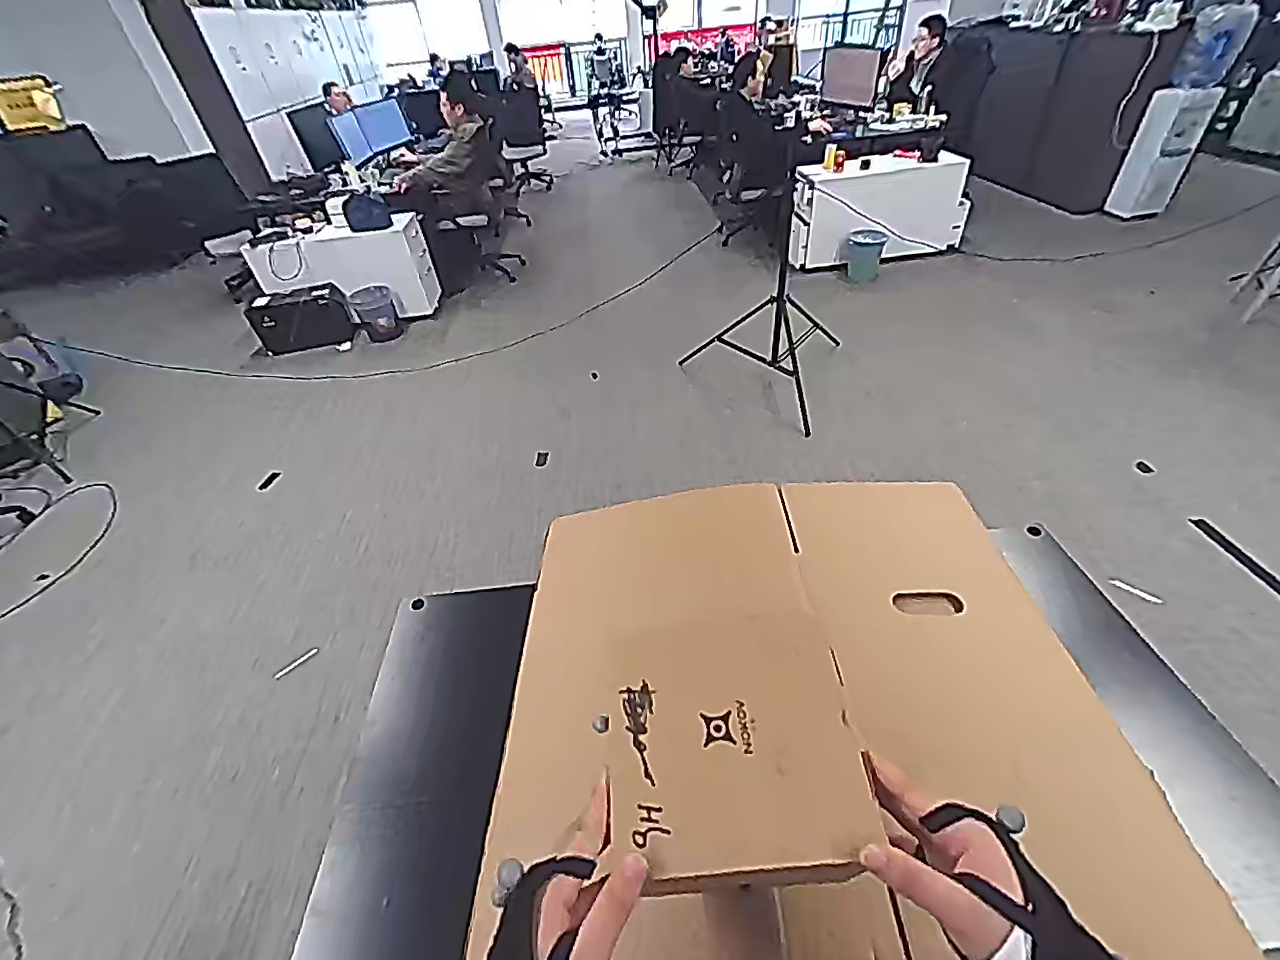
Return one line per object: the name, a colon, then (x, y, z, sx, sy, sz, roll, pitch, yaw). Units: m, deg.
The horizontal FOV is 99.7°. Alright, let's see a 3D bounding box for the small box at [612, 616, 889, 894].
small box: (0.072, 0.231, 0.448, 0.179, 0.176, 0.168, -6, 48, 1)
